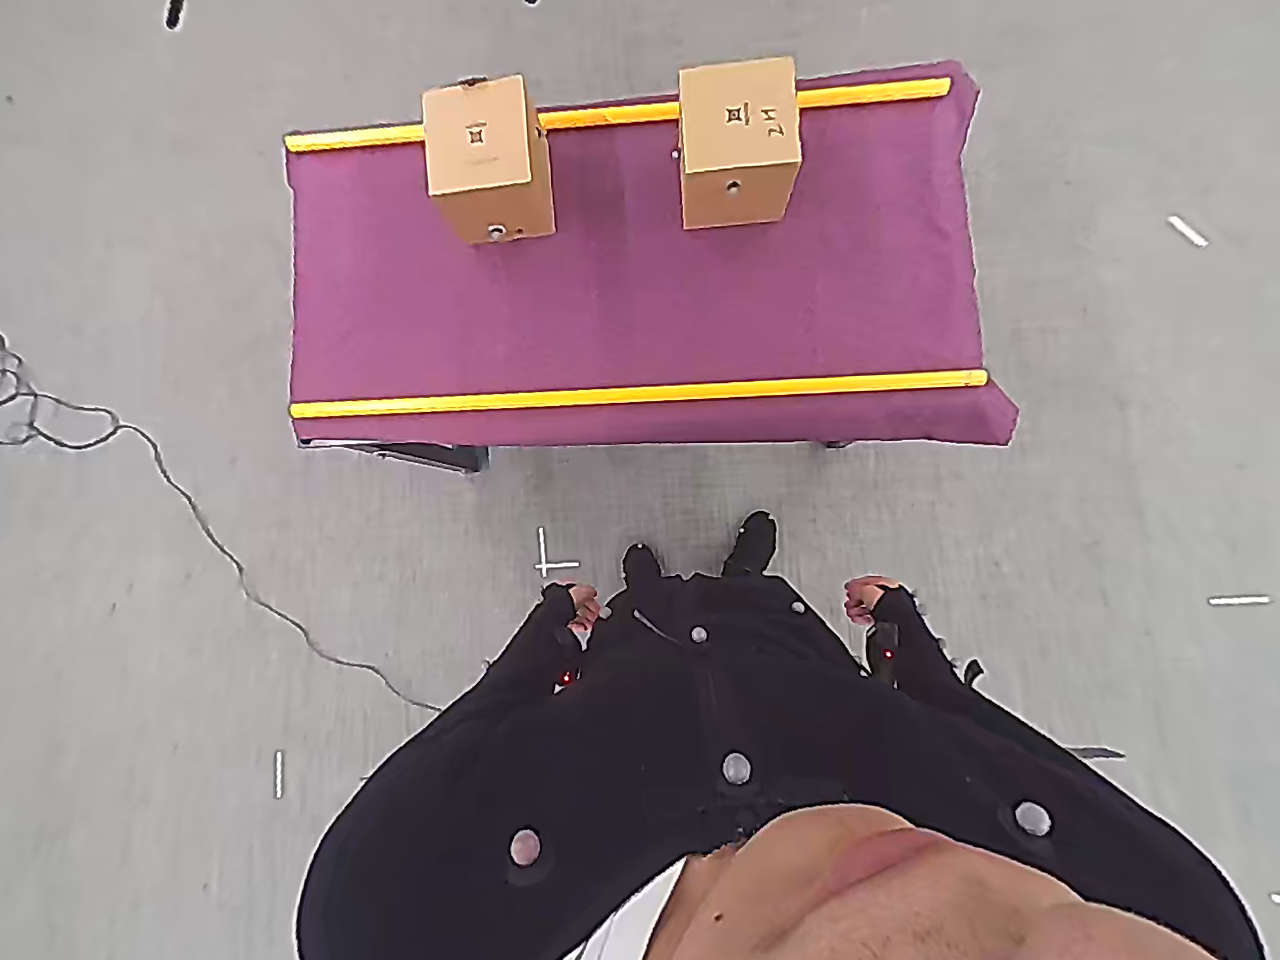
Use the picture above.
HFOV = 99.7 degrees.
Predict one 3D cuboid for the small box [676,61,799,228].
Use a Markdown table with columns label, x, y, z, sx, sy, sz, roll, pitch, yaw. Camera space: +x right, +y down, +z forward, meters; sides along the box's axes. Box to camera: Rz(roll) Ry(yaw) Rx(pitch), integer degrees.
| label | x | y | z | sx | sy | sz | roll | pitch | yaw |
| --- | --- | --- | --- | --- | --- | --- | --- | --- | --- |
| small box | 0.152 | -0.536 | 0.888 | 0.179 | 0.176 | 0.168 | -3 | 87 | 4 |

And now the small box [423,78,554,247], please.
| label | x | y | z | sx | sy | sz | roll | pitch | yaw |
| --- | --- | --- | --- | --- | --- | --- | --- | --- | --- |
| small box | -0.248 | -0.526 | 0.916 | 0.168 | 0.176 | 0.179 | -6 | 86 | 4 |
